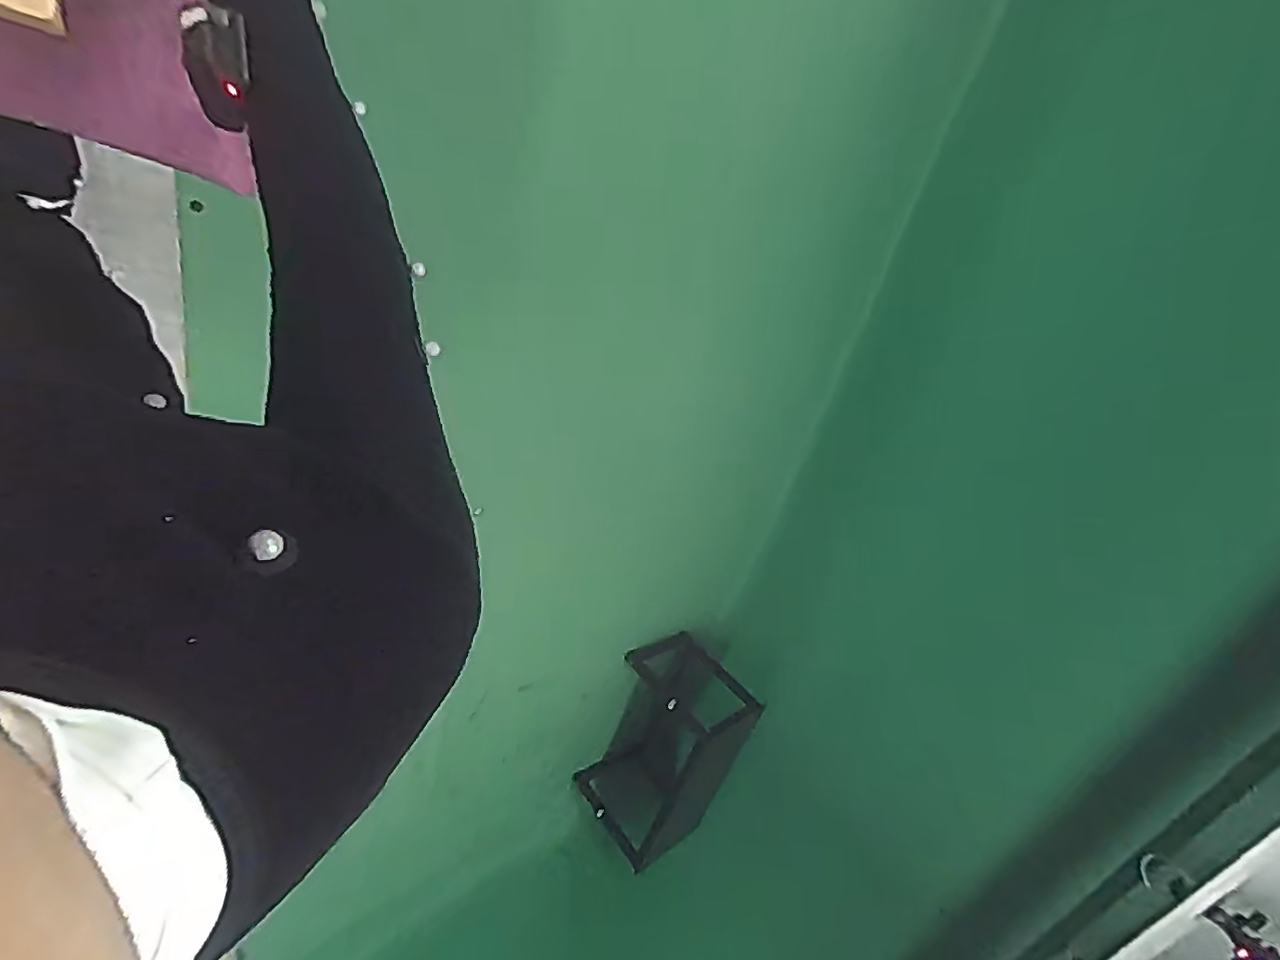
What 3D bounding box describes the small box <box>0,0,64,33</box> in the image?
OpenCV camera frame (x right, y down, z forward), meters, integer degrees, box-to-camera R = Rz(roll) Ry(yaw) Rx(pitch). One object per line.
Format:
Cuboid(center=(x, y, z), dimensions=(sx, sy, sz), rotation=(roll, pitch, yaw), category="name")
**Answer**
Cuboid(center=(-0.512, -0.441, 0.359), dimensions=(0.168, 0.176, 0.179), rotation=(-6, 121, -43), category="small box")
